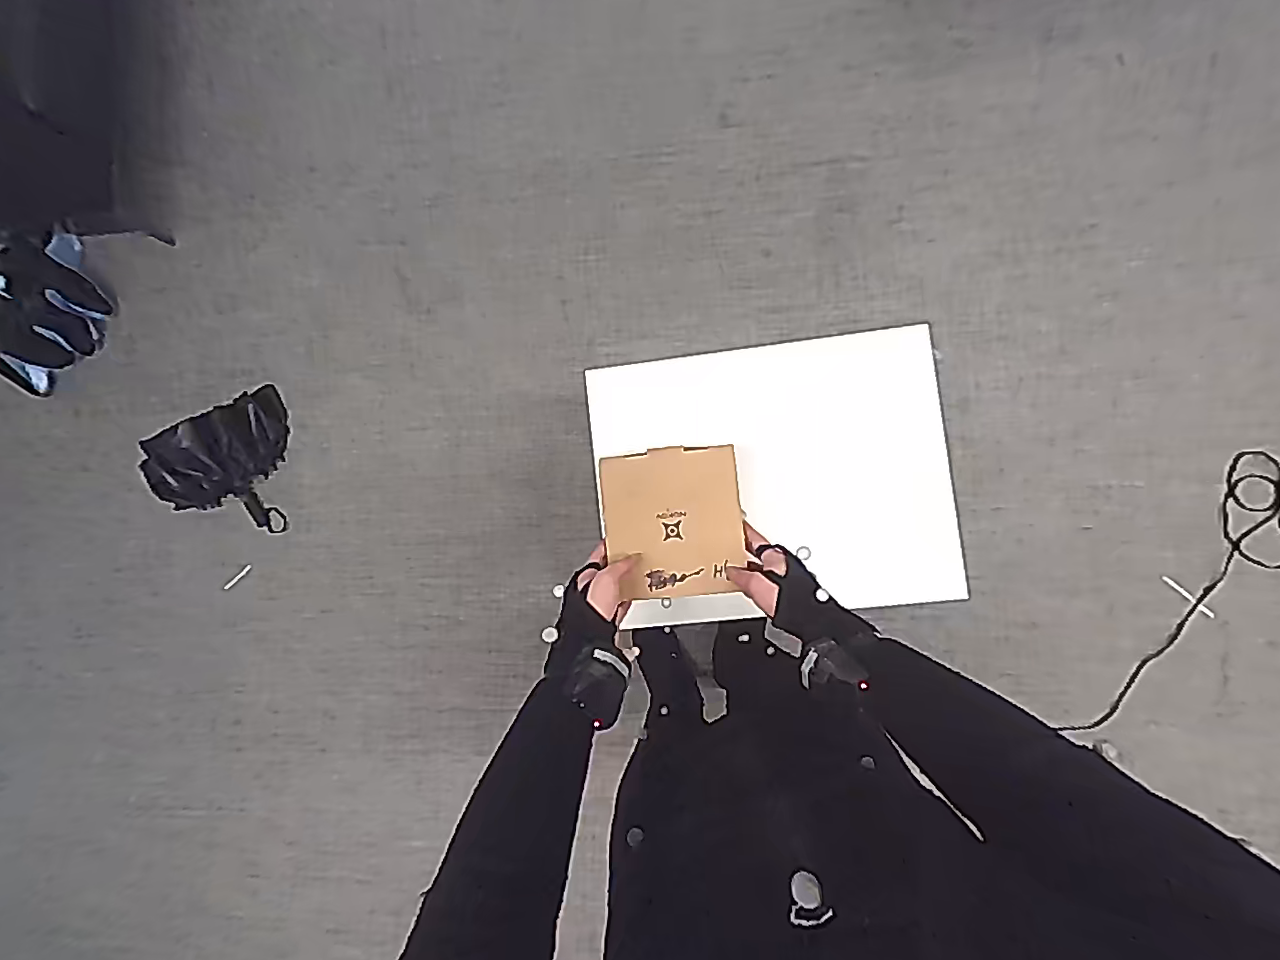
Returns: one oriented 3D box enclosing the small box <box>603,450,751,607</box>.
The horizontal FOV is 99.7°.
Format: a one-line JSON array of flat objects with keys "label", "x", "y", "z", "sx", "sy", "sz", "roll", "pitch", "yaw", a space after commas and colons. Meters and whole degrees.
[{"label": "small box", "x": 0.048, "y": 0.065, "z": 0.723, "sx": 0.168, "sy": 0.176, "sz": 0.179, "roll": -7, "pitch": 86, "yaw": 4}]
